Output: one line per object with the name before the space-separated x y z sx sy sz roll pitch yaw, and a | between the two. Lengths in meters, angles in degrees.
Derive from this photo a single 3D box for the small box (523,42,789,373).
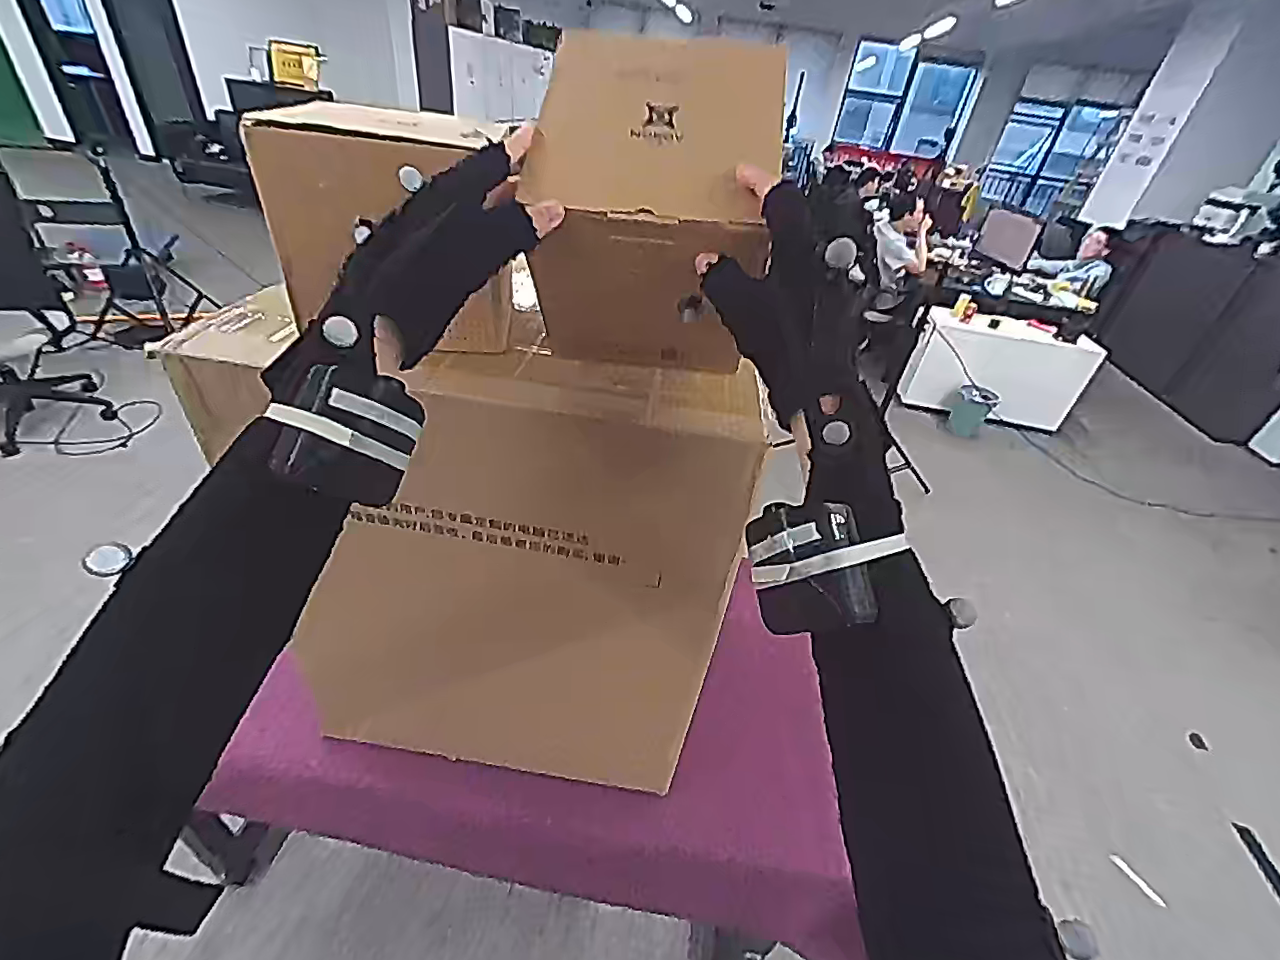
small box | 0.017 -0.209 0.441 0.168 0.176 0.179 7 66 2

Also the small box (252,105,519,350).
small box | -0.207 -0.232 0.502 0.179 0.176 0.168 2 38 -10
